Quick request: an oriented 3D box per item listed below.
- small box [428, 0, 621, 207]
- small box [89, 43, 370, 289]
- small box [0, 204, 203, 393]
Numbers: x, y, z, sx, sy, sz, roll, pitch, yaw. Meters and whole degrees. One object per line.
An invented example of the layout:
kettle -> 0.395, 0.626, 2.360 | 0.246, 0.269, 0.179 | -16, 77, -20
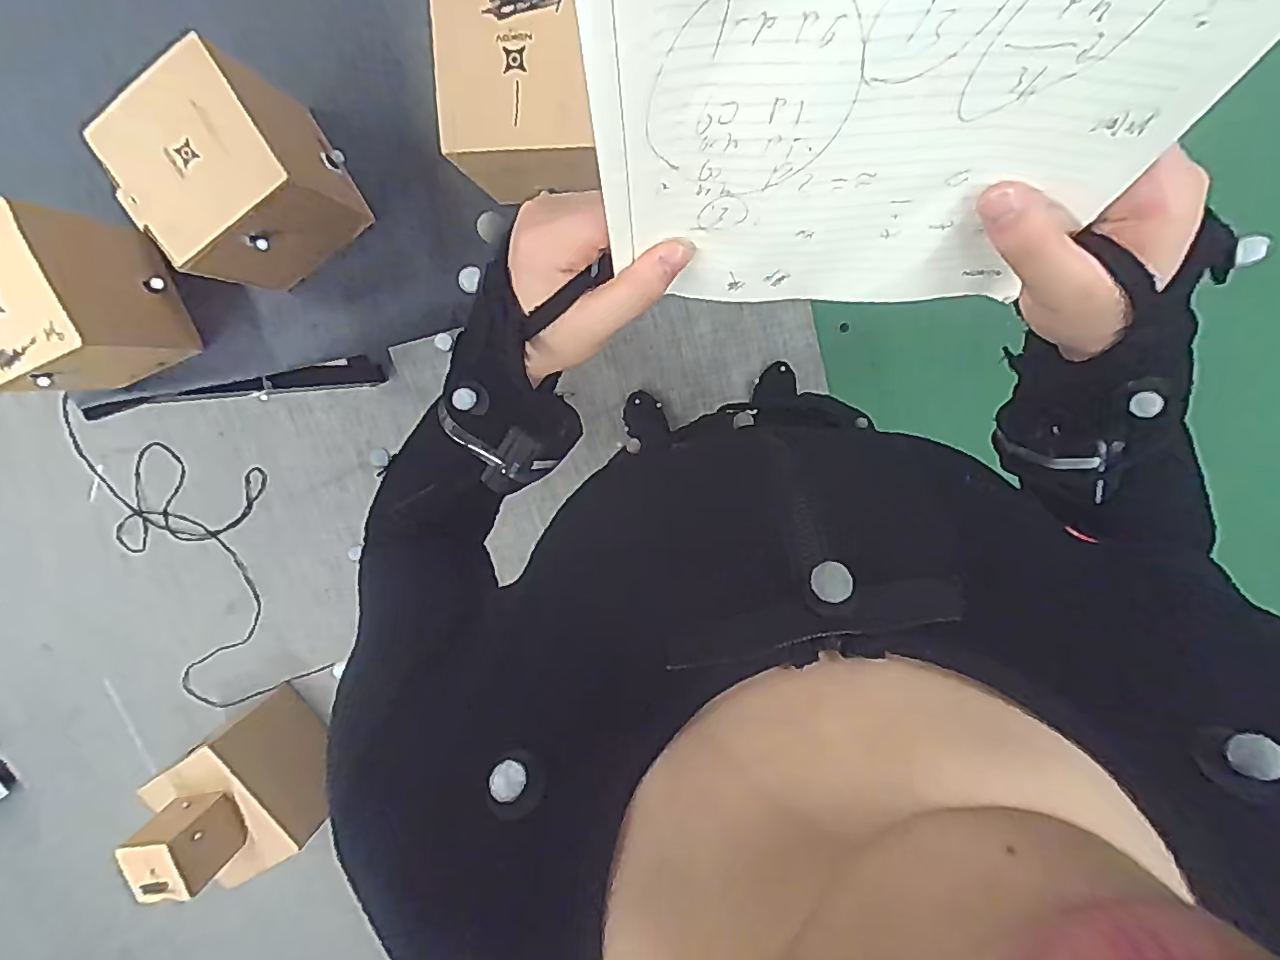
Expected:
small box -> -0.115, -0.423, 0.600 | 0.168, 0.176, 0.179 | 1, 102, 7
small box -> -0.477, -0.355, 0.657 | 0.179, 0.176, 0.168 | -31, 97, 10
small box -> -0.744, -0.222, 0.711 | 0.168, 0.176, 0.179 | -19, 99, 9
